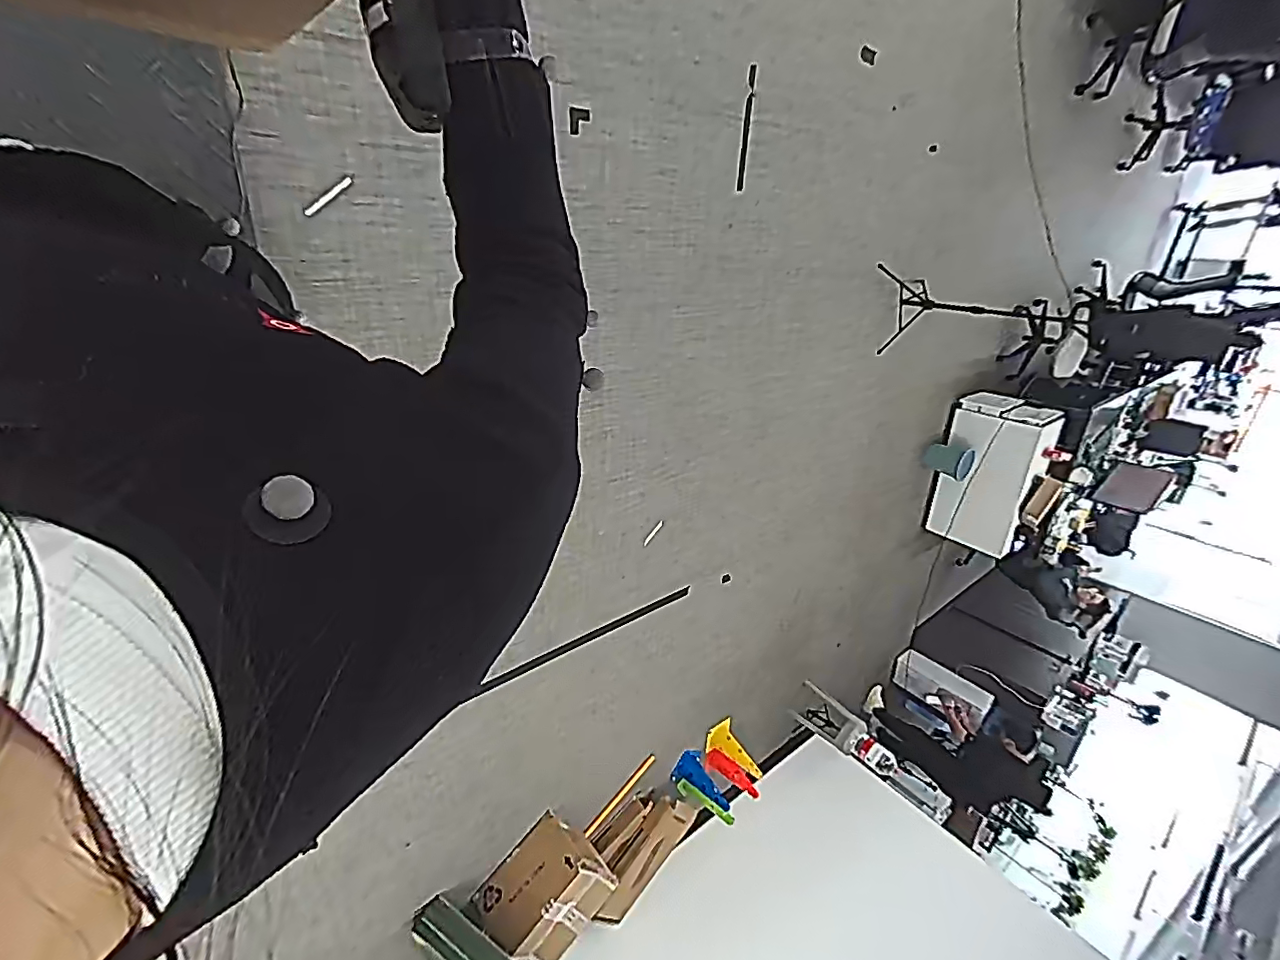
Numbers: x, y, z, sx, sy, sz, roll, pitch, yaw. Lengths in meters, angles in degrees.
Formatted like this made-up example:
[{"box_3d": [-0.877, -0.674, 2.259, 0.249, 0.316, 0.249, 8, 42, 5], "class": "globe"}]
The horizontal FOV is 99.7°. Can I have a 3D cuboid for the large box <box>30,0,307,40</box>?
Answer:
[{"box_3d": [-0.383, -0.413, 0.198, 0.408, 0.320, 0.320, -17, 126, -36], "class": "large box"}]
